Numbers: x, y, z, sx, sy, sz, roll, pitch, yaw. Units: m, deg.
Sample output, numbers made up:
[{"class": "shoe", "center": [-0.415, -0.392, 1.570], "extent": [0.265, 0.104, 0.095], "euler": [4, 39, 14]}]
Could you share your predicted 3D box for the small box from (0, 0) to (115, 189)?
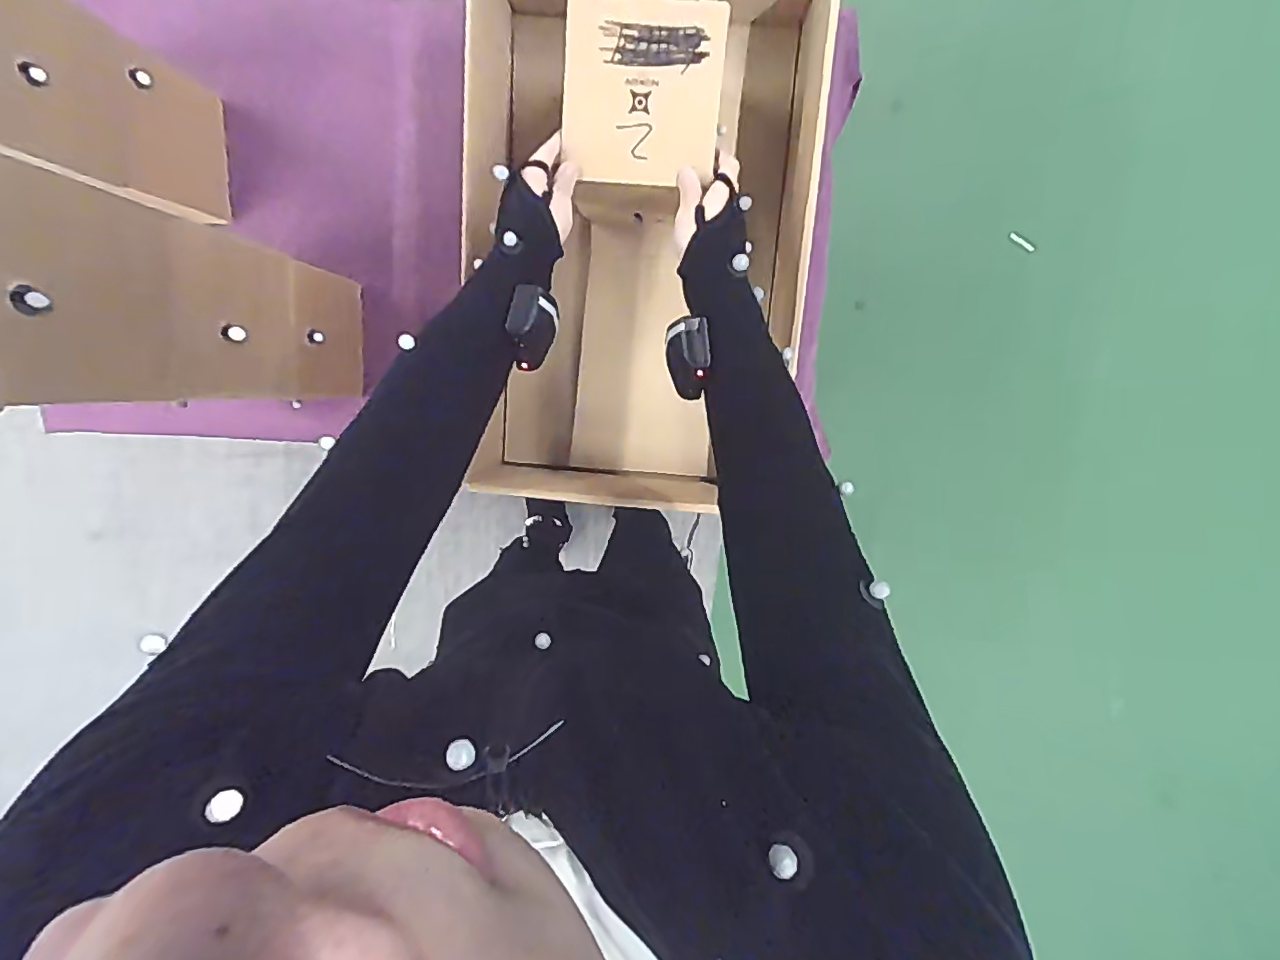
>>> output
[{"class": "small box", "center": [-0.695, -0.427, 0.552], "extent": [0.168, 0.176, 0.179], "euler": [7, 100, 1]}]

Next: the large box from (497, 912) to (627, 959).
[{"class": "large box", "center": [-0.258, 1.714, 1.735], "extent": [0.408, 0.320, 0.320], "euler": [-28, 98, 6]}]

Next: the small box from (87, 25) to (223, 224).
[{"class": "small box", "center": [-0.695, -0.452, 0.715], "extent": [0.168, 0.176, 0.179], "euler": [3, 99, 2]}]

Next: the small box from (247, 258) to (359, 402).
[{"class": "small box", "center": [-0.513, -0.203, 0.748], "extent": [0.168, 0.176, 0.179], "euler": [5, 98, 1]}]

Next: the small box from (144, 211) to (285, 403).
[{"class": "small box", "center": [-0.518, -0.180, 0.587], "extent": [0.168, 0.176, 0.179], "euler": [4, 100, 0]}]

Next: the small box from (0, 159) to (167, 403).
[{"class": "small box", "center": [-0.520, -0.153, 0.423], "extent": [0.168, 0.176, 0.179], "euler": [6, 99, 0]}]
